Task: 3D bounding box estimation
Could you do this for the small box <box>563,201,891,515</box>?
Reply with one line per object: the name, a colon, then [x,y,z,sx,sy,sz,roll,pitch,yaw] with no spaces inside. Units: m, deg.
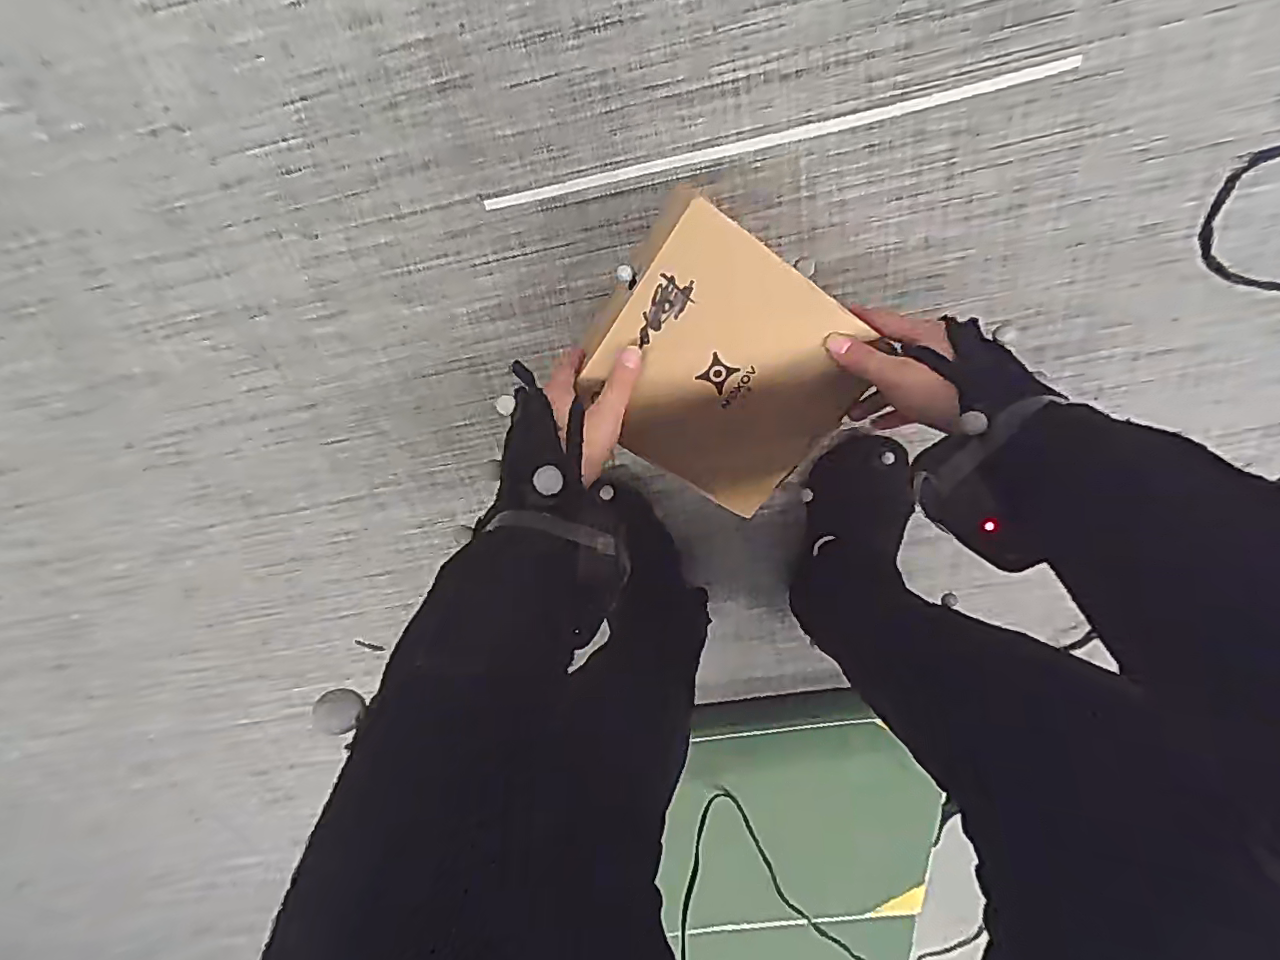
small box: [0.059,-0.109,0.449,0.179,0.176,0.168,30,115,-17]
